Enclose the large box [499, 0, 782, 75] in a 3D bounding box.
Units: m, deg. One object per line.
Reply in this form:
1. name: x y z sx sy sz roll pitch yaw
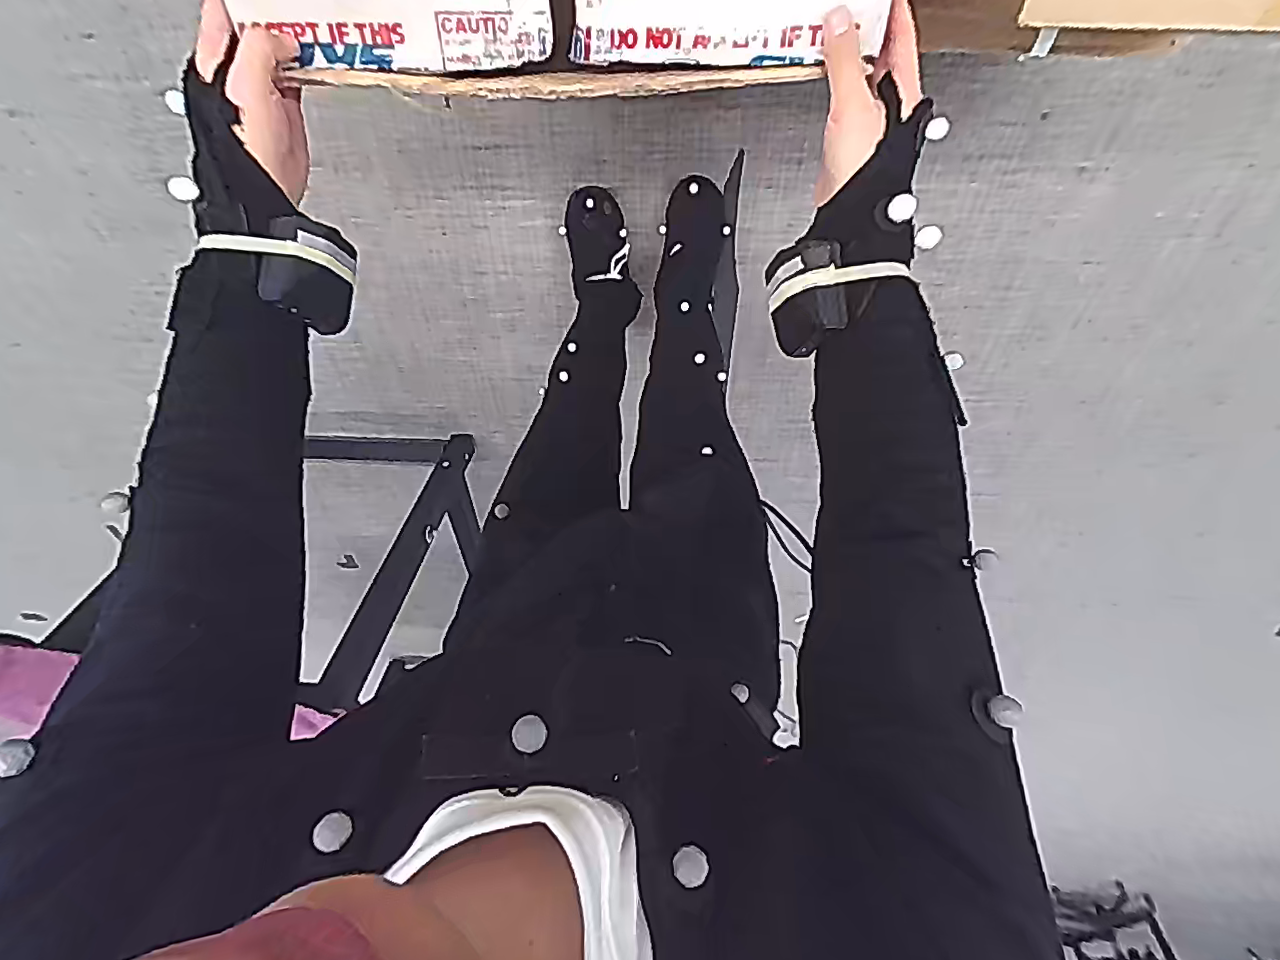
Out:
1. large box: 0.000 -0.721 0.601 0.320 0.320 0.408 1 132 4
